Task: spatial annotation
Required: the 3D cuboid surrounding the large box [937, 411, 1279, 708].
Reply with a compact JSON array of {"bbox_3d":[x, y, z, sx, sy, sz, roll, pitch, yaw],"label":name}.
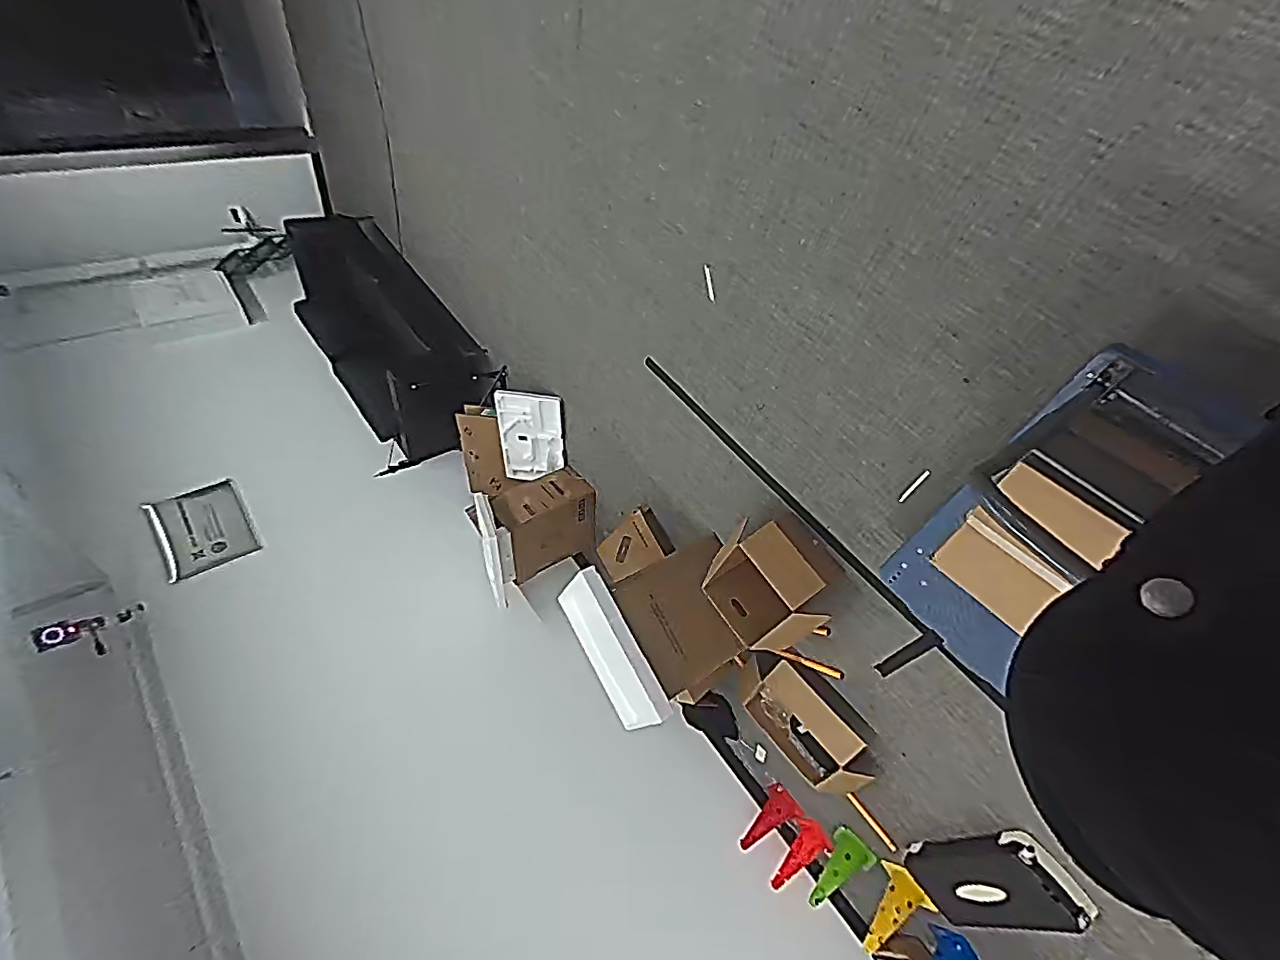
[{"bbox_3d":[0.897,0.135,1.036,0.408,0.320,0.320,46,144,30],"label":"large box"}]
